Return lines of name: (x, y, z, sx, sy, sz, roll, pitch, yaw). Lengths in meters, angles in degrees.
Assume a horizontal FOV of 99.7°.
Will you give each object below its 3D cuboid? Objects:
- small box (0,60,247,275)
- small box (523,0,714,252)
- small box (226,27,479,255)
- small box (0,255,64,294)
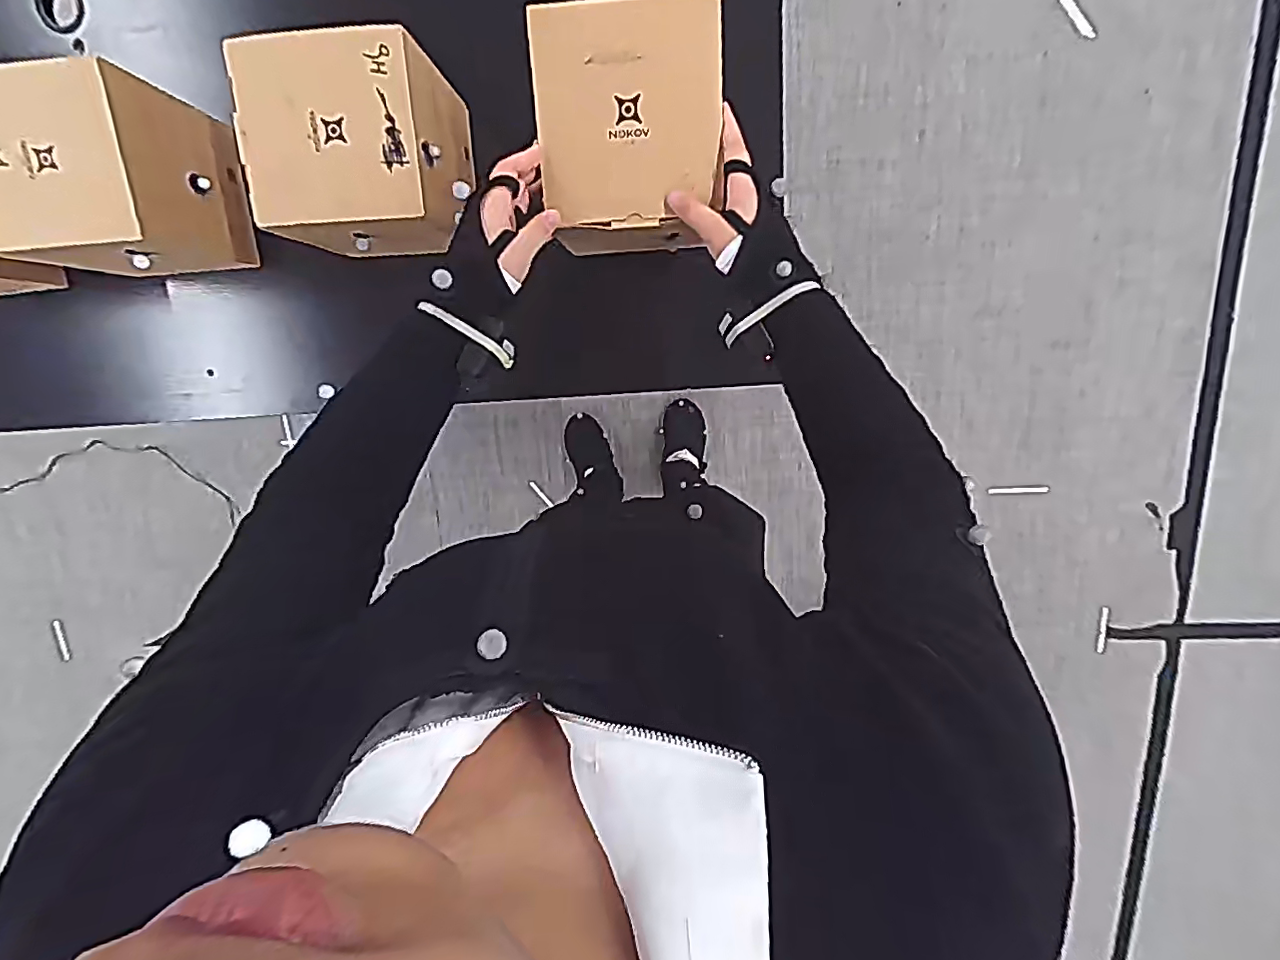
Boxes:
small box: (-0.590, -0.335, 0.614, 0.179, 0.176, 0.168, -4, 102, 3)
small box: (-0.013, -0.341, 0.559, 0.168, 0.176, 0.179, -3, 104, 2)
small box: (-0.298, -0.352, 0.597, 0.179, 0.176, 0.168, -1, 103, 4)
small box: (-0.856, -0.319, 0.632, 0.168, 0.176, 0.179, -5, 104, 4)
